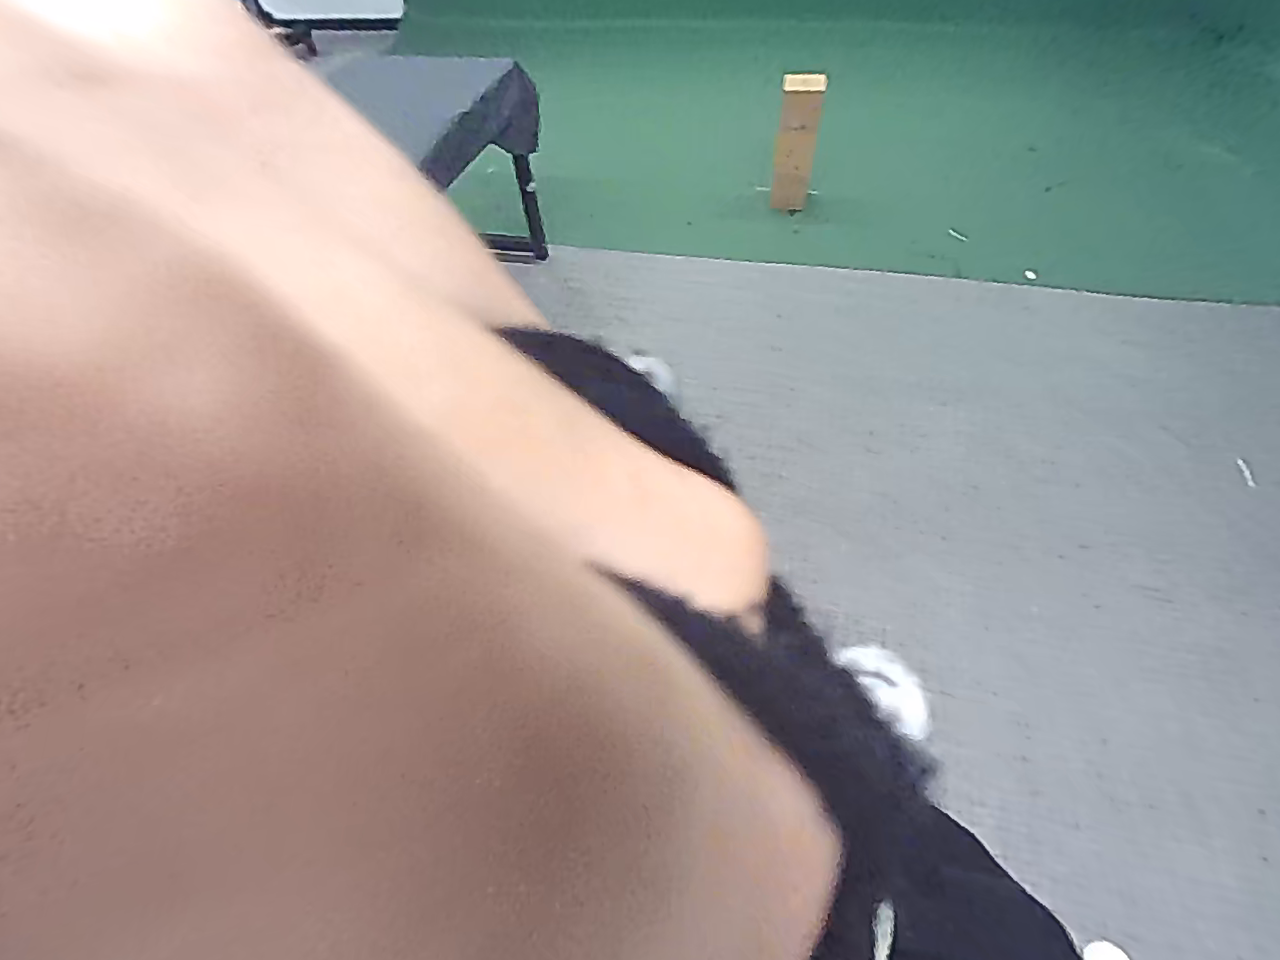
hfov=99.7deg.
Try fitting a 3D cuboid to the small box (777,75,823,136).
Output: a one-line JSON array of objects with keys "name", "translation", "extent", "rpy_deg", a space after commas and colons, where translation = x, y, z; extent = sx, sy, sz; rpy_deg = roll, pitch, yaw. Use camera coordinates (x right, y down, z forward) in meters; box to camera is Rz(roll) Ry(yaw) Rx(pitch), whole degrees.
[{"name": "small box", "translation": [0.683, -1.608, 2.319], "extent": [0.168, 0.176, 0.179], "rpy_deg": [6, 55, 10]}]

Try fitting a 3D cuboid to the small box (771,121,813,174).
[{"name": "small box", "translation": [0.688, -1.510, 2.449], "extent": [0.168, 0.176, 0.179], "rpy_deg": [7, 54, 9]}]
